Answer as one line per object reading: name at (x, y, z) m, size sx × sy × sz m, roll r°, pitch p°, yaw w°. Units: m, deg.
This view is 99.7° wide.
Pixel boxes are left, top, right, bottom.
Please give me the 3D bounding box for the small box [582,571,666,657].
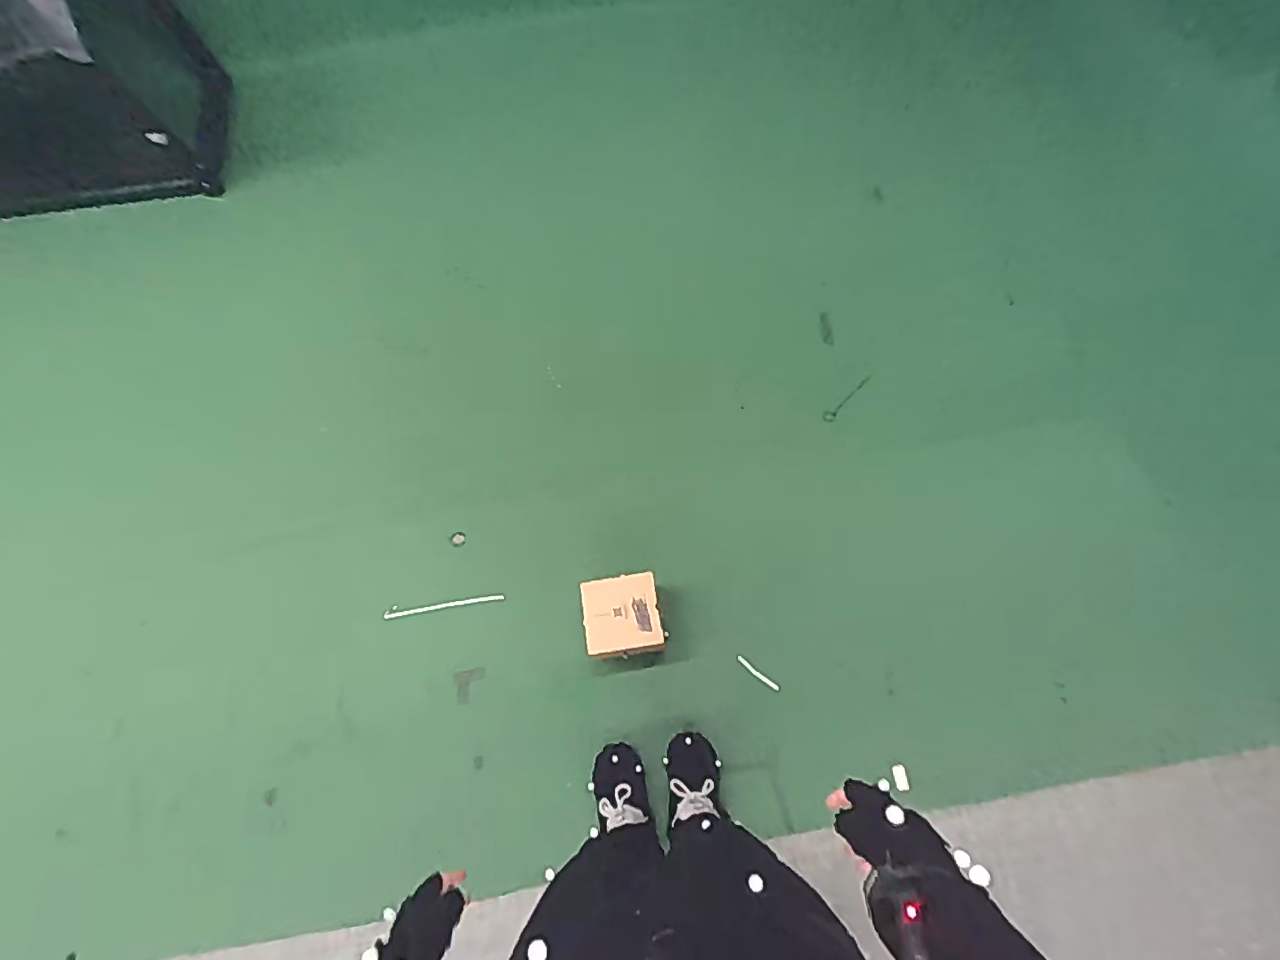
small box at (-0.035, 0.325, 1.297) m, size 0.179 × 0.176 × 0.168 m, roll -9°, pitch 68°, yaw 0°
